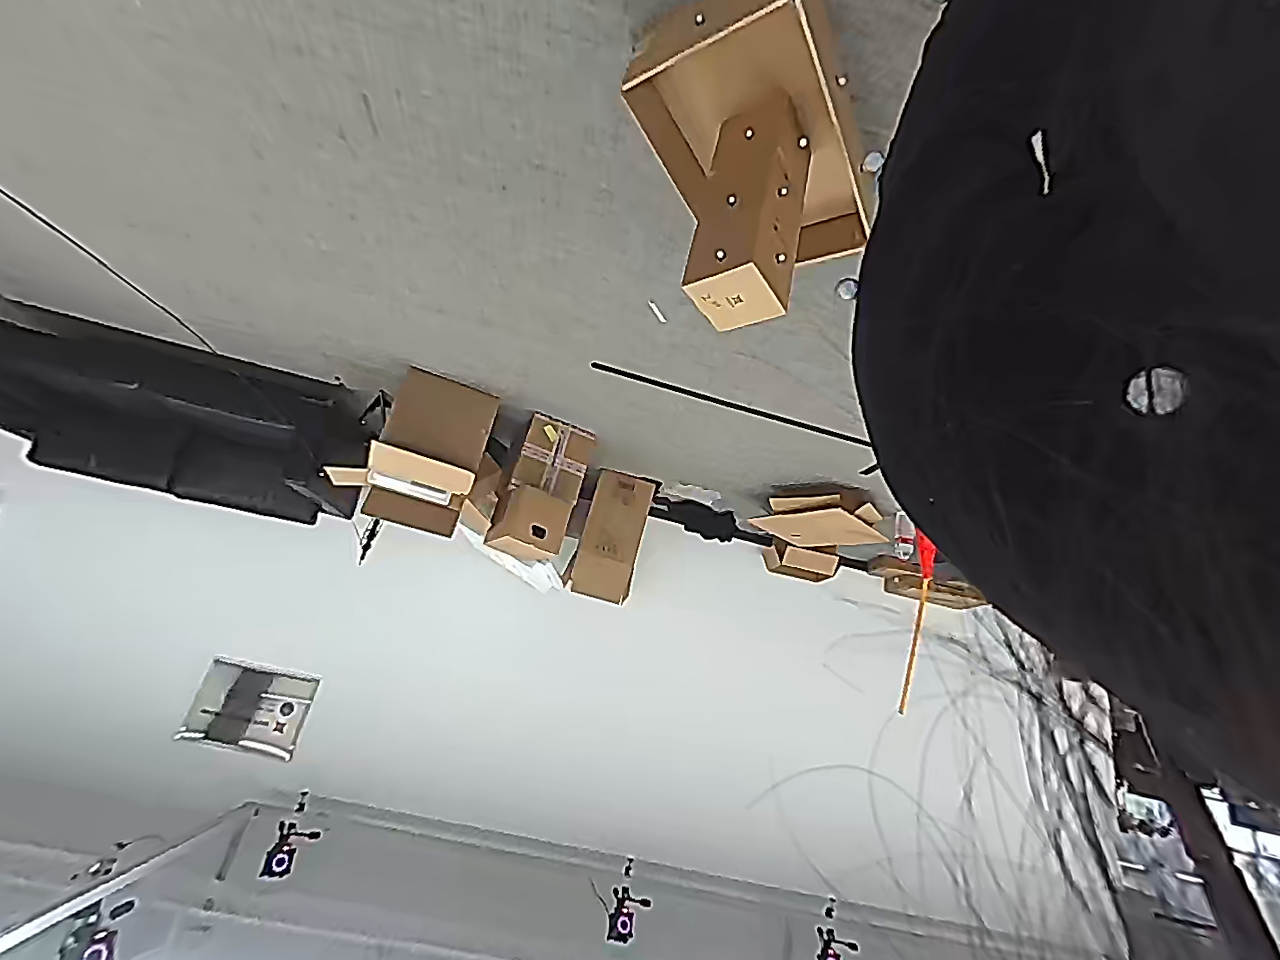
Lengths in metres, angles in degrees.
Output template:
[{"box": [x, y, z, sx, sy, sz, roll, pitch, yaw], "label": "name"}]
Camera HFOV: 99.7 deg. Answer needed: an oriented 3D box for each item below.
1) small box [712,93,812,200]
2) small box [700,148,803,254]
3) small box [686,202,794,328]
[{"box": [0.298, -0.770, 1.297, 0.179, 0.176, 0.168, -2, 156, 36], "label": "small box"}, {"box": [0.264, -0.619, 1.248, 0.179, 0.176, 0.168, -3, 154, 40], "label": "small box"}, {"box": [0.226, -0.470, 1.188, 0.179, 0.176, 0.168, -4, 152, 40], "label": "small box"}]
